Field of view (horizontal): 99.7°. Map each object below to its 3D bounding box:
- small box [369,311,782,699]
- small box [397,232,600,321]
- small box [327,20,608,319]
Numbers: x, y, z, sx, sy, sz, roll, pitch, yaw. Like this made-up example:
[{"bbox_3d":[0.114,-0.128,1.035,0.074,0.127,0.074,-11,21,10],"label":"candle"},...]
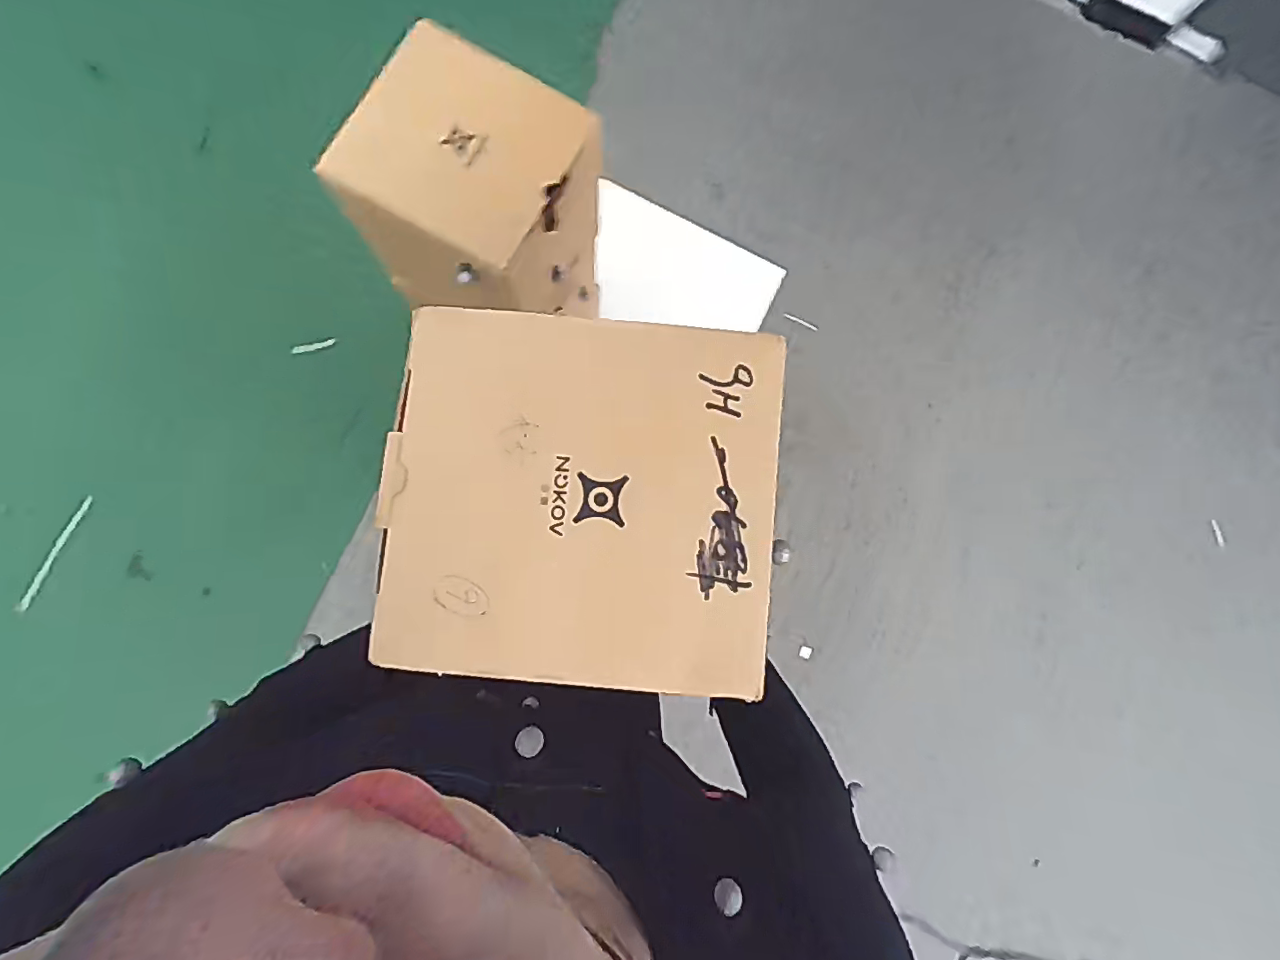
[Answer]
[{"bbox_3d":[-0.026,0.015,0.323,0.179,0.176,0.168,5,85,1],"label":"small box"},{"bbox_3d":[-0.164,-0.246,0.687,0.179,0.176,0.168,26,81,-1],"label":"small box"},{"bbox_3d":[-0.148,-0.271,0.527,0.179,0.176,0.168,29,81,-2],"label":"small box"}]
